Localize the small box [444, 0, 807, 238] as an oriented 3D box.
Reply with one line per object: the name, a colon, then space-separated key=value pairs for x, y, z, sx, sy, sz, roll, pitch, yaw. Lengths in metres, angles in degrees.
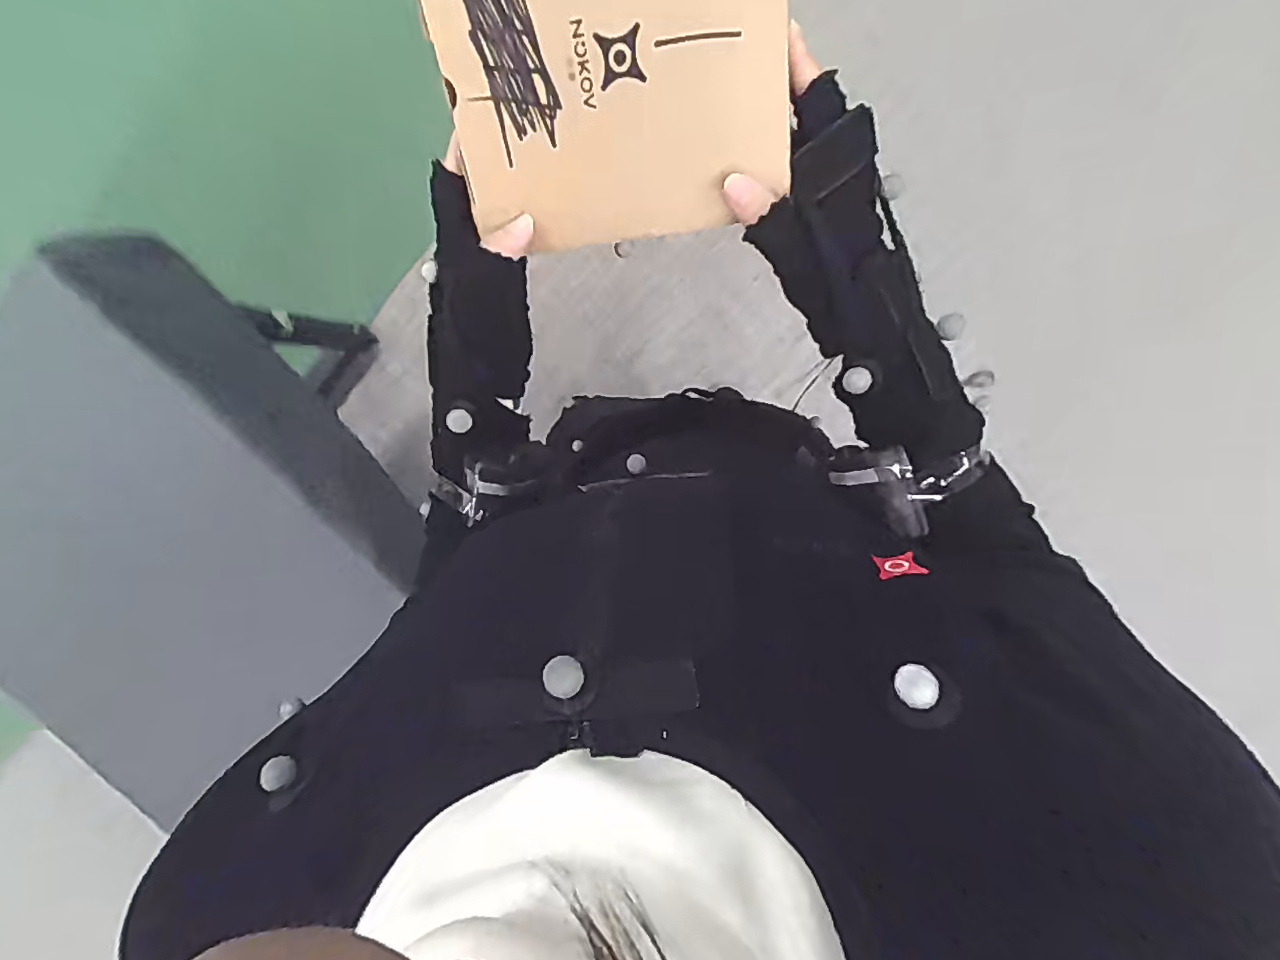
small box: x=0.005 y=-0.252 z=0.331 sx=0.179 sy=0.176 sz=0.168 roll=-2 pitch=120 yaw=12
